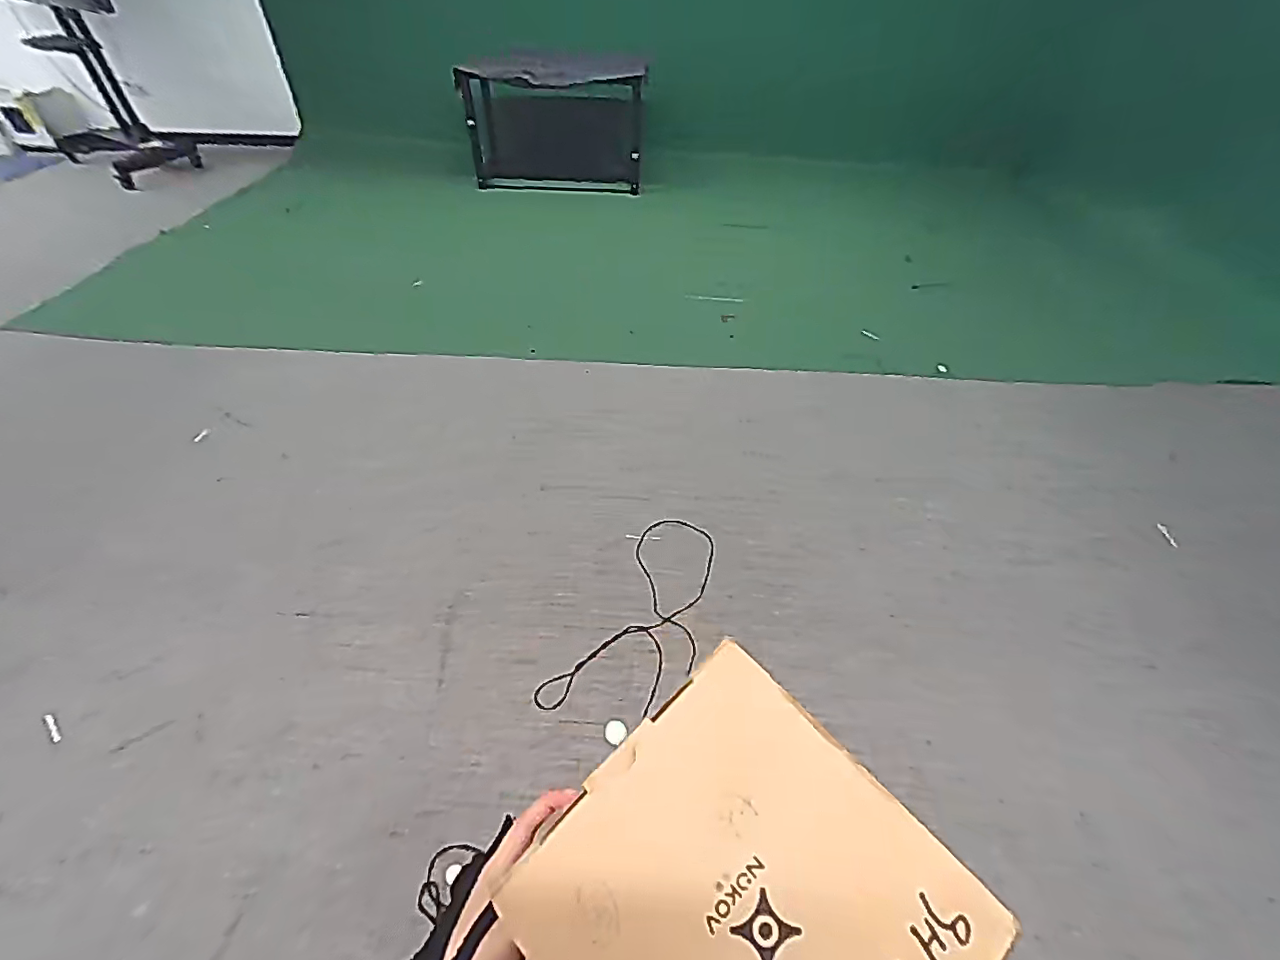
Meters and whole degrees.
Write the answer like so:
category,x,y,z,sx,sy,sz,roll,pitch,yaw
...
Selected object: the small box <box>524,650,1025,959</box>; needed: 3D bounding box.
category,x,y,z,sx,sy,sz,roll,pitch,yaw
small box,0.061,0.234,0.323,0.168,0.176,0.179,-42,71,-16
